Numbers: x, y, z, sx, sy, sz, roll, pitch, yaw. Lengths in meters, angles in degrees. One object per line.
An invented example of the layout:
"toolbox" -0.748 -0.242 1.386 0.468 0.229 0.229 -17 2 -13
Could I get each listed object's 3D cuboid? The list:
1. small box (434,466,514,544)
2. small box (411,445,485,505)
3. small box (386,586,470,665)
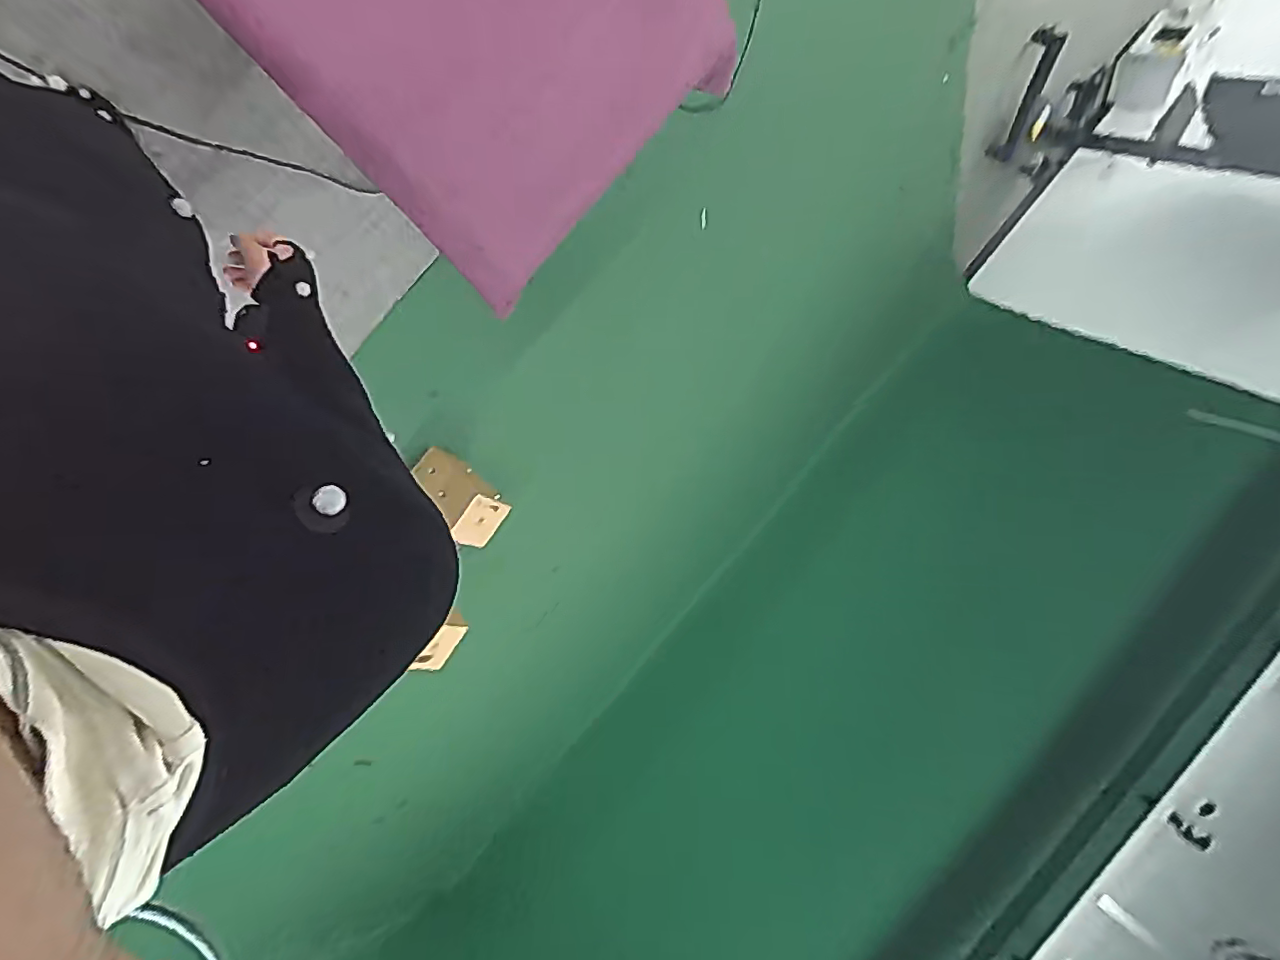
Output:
"small box" -0.565 0.083 1.817 0.179 0.176 0.168 -52 146 3
"small box" -0.672 -0.001 1.909 0.168 0.176 0.179 -51 146 1
"small box" -0.692 0.472 1.749 0.179 0.176 0.168 -54 145 5
